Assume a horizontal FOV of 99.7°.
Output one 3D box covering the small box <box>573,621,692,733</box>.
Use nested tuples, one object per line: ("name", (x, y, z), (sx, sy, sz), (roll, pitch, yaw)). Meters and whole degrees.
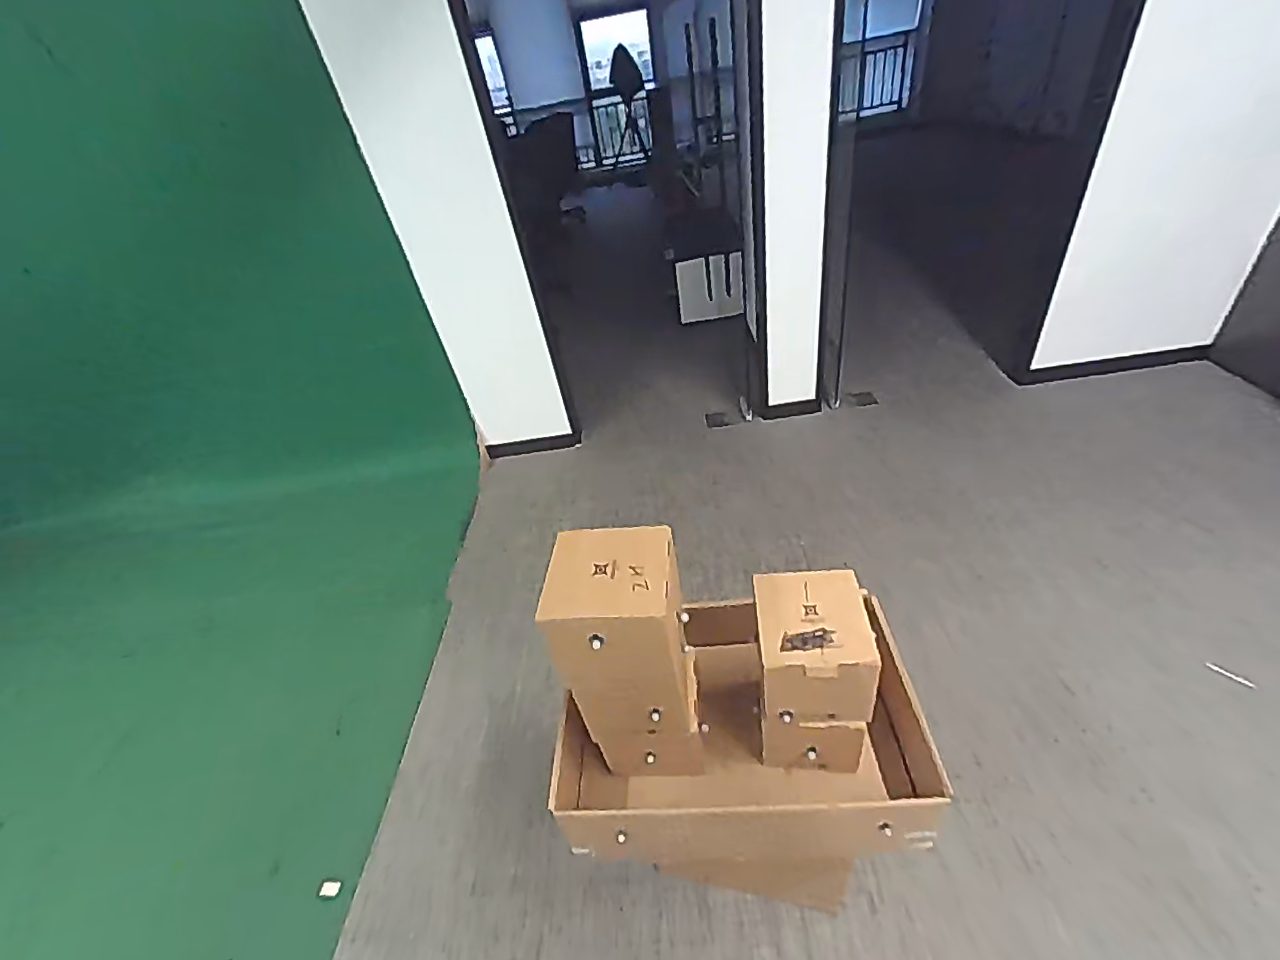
("small box", (-0.003, 0.310, 0.912), (0.168, 0.176, 0.179), (-6, 38, 8))

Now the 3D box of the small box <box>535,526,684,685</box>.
("small box", (-0.033, 0.189, 0.804), (0.179, 0.176, 0.168), (-4, 40, 10))

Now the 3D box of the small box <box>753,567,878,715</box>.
("small box", (0.279, 0.266, 0.883), (0.168, 0.176, 0.179), (-5, 38, 10))
